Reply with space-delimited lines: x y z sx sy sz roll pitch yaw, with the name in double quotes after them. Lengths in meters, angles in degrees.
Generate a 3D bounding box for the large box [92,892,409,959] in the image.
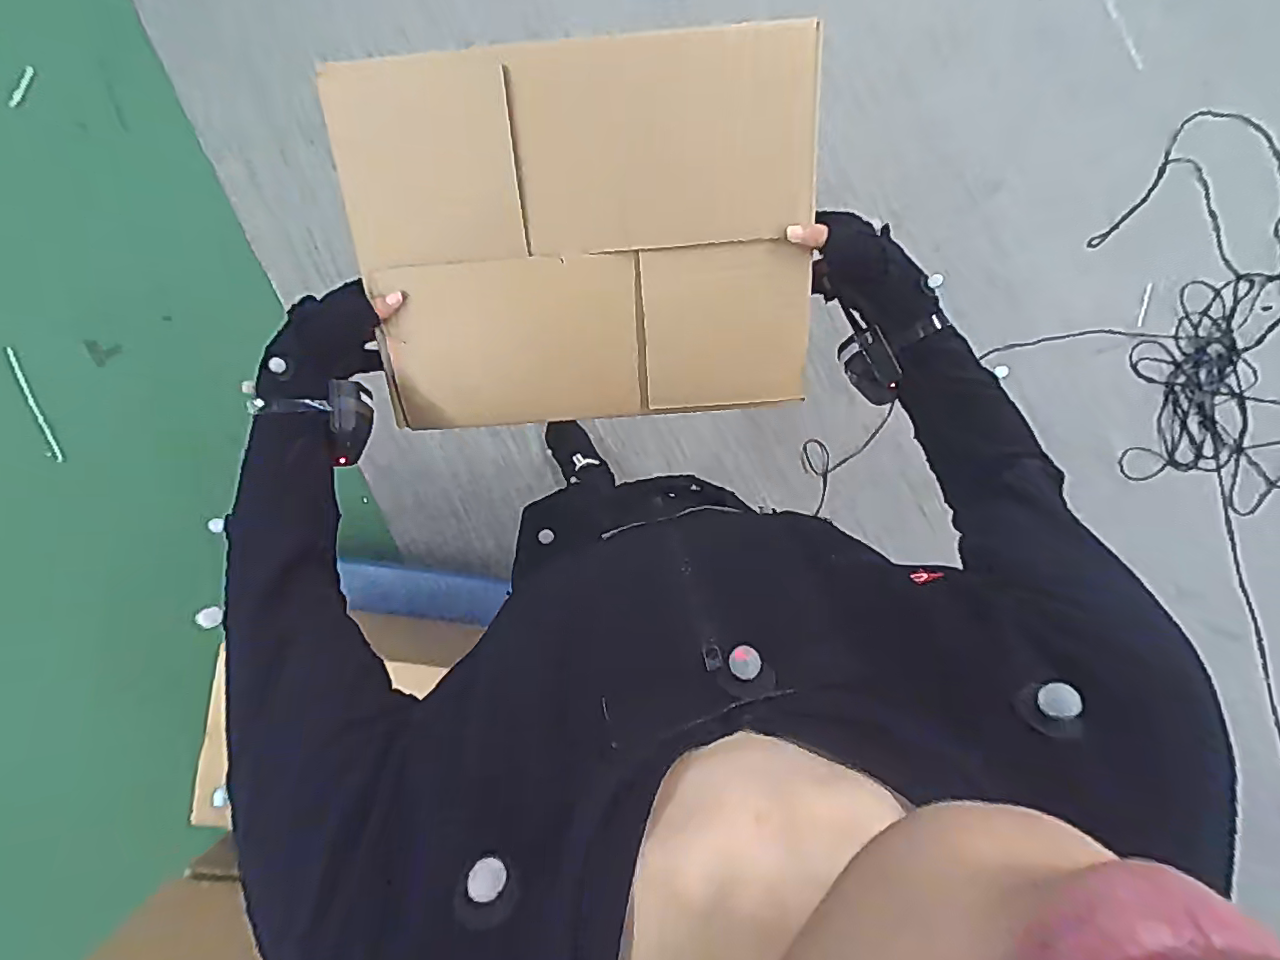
-0.576 0.830 0.735 0.408 0.320 0.320 6 92 -3 "large box"
